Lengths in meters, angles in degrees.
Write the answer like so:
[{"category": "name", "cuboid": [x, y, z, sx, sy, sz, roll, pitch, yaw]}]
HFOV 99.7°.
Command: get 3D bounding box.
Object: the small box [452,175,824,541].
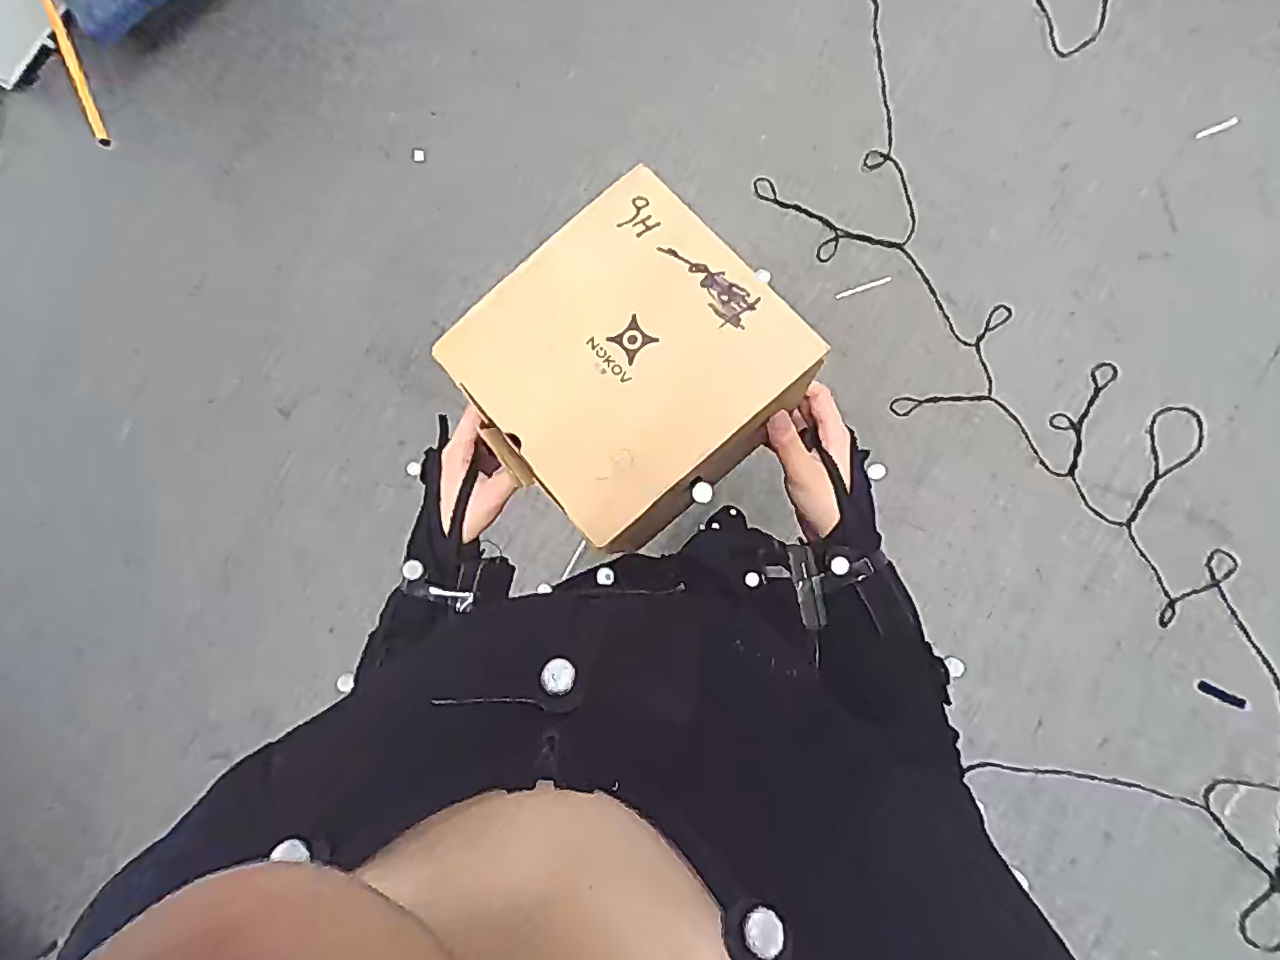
[{"category": "small box", "cuboid": [0.005, -0.067, 0.407, 0.179, 0.176, 0.168, -41, 80, 1]}]
